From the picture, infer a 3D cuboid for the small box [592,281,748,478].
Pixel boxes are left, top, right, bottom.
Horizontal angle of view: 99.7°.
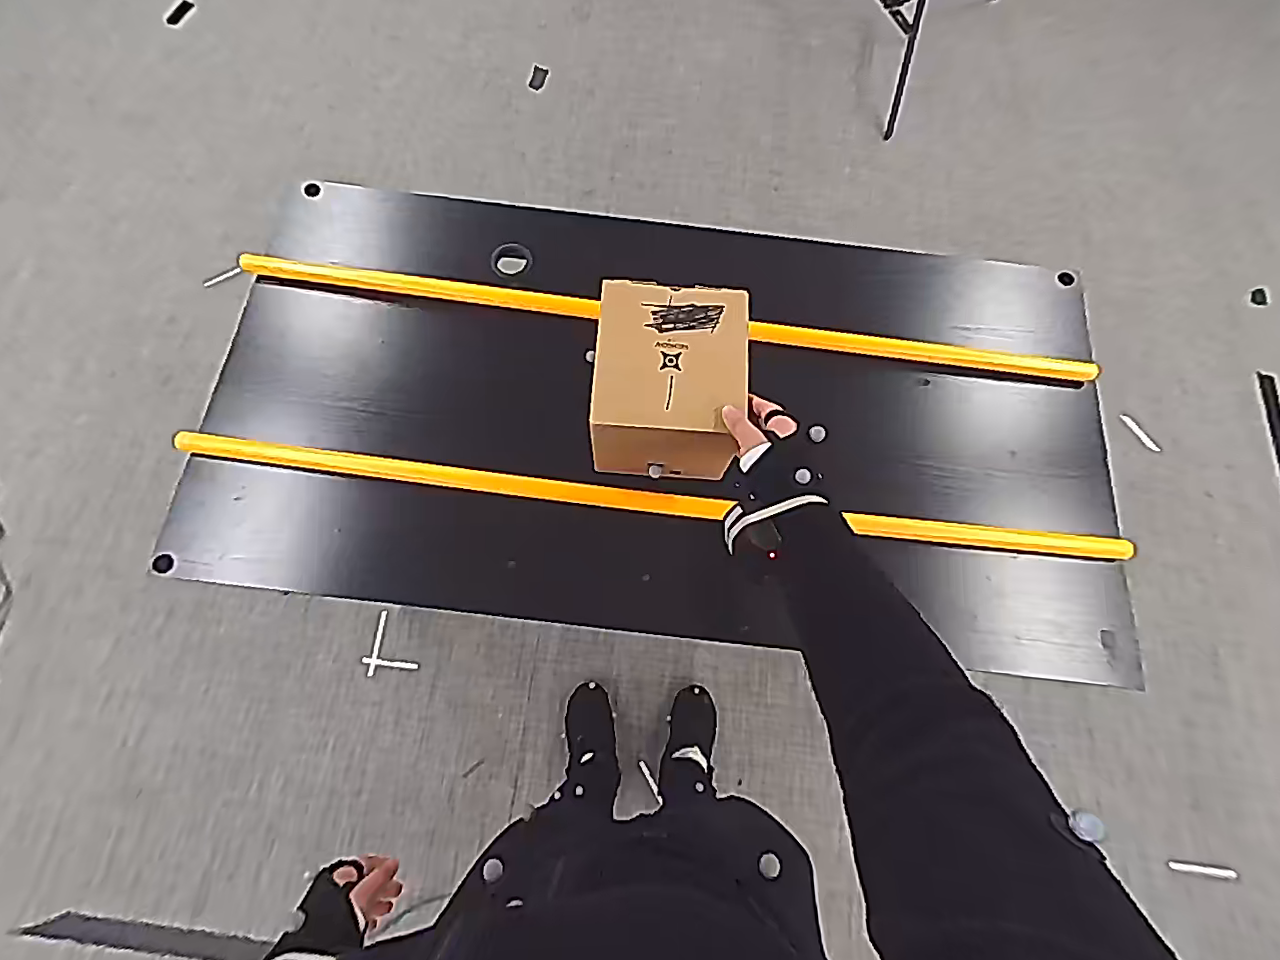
[{"bbox_3d":[0.032,-0.114,0.664,0.168,0.176,0.179,4,74,-1],"label":"small box"}]
